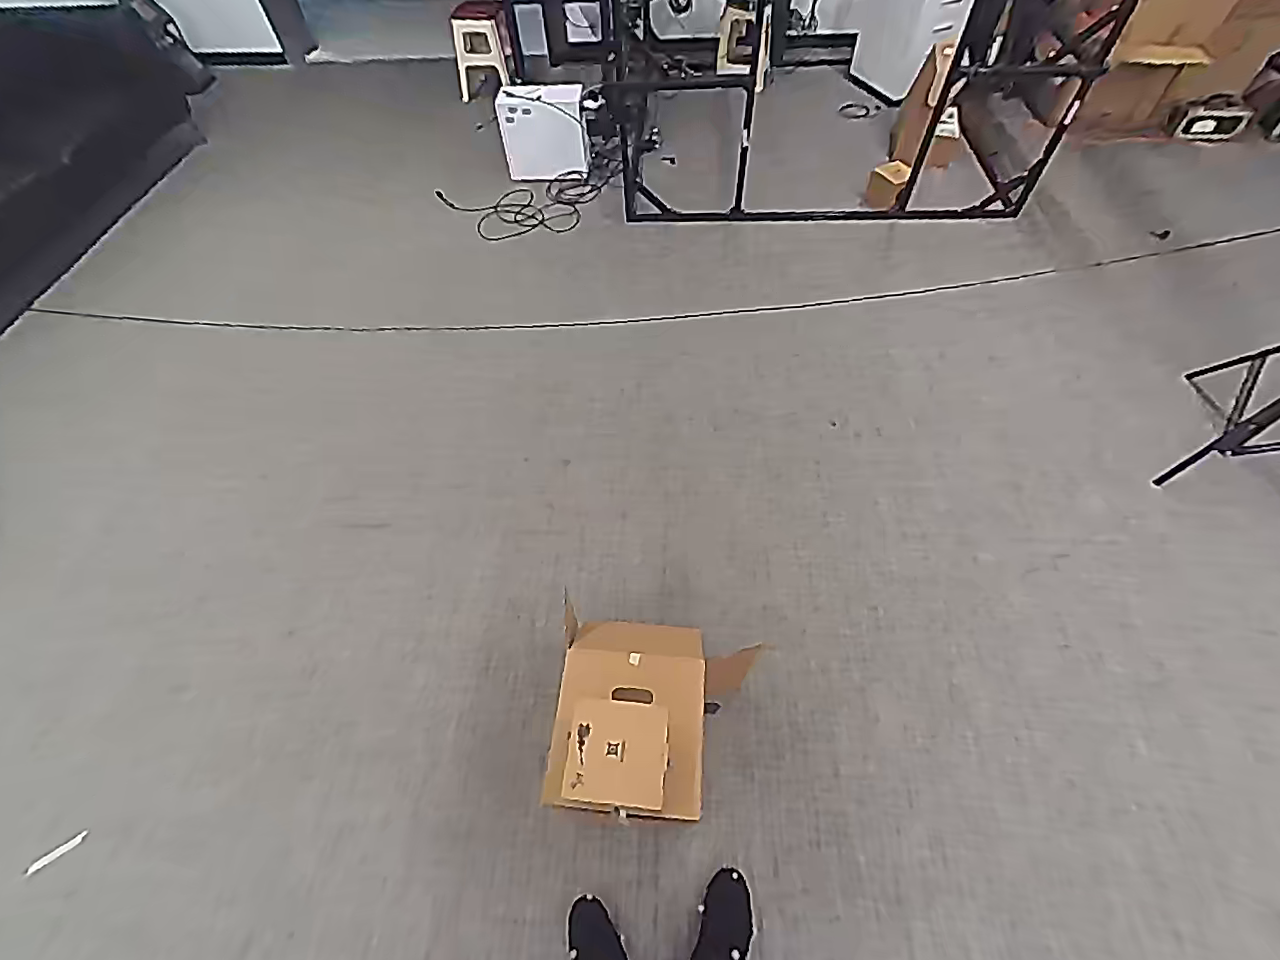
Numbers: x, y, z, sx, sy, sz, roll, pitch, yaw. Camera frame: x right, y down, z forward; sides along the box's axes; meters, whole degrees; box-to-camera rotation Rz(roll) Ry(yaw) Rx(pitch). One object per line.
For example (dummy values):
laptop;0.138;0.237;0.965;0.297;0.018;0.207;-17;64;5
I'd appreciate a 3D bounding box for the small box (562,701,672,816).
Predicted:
small box;-0.036;0.529;1.023;0.179;0.176;0.168;5;57;5
